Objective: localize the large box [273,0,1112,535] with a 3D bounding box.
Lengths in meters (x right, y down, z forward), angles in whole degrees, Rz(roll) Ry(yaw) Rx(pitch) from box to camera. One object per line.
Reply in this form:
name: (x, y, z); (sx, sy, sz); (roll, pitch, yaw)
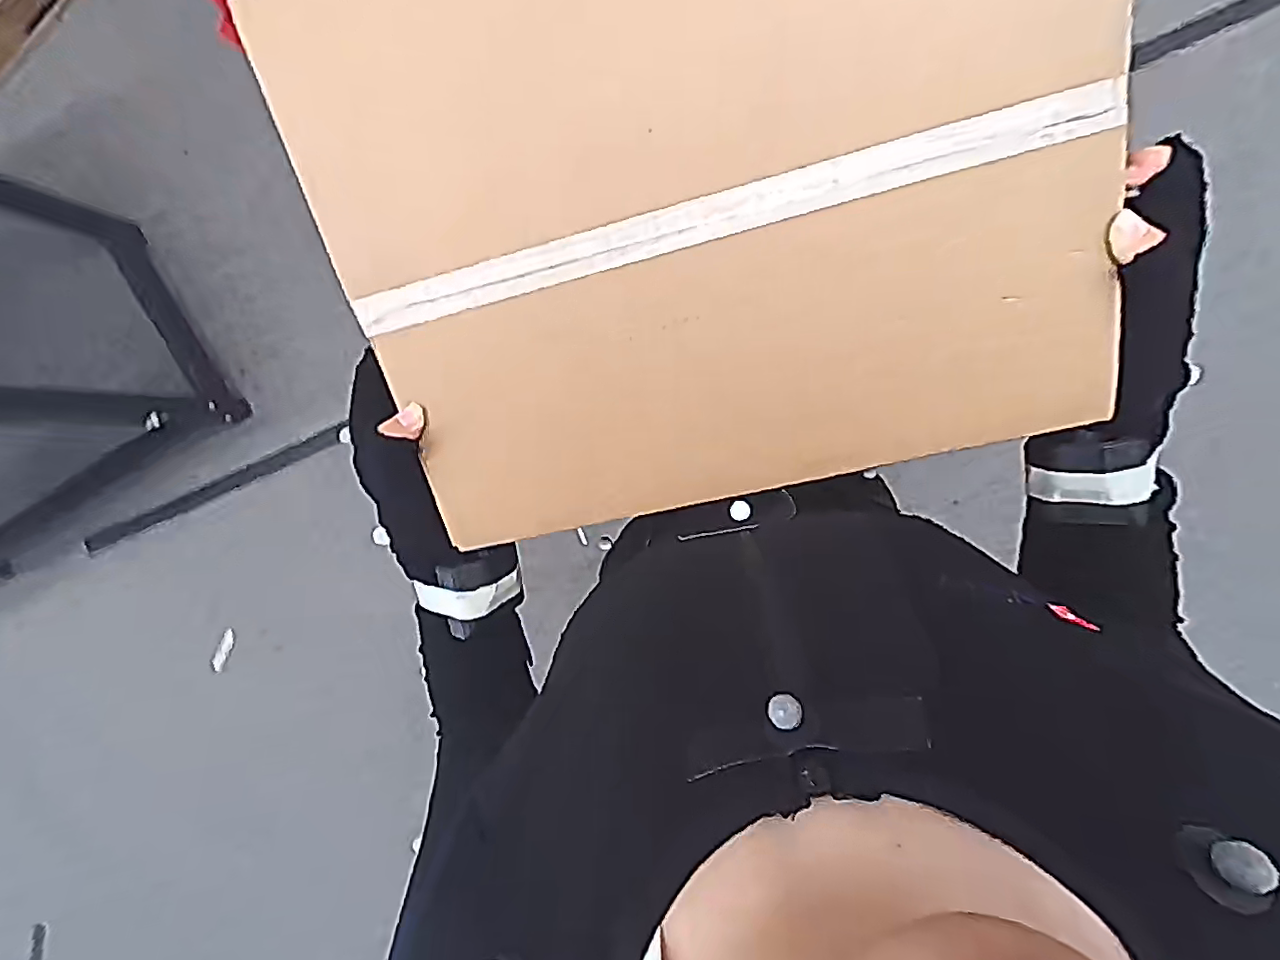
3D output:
large box: (0.045, -0.192, 0.434); (0.408, 0.320, 0.320); (-12, 110, 8)
